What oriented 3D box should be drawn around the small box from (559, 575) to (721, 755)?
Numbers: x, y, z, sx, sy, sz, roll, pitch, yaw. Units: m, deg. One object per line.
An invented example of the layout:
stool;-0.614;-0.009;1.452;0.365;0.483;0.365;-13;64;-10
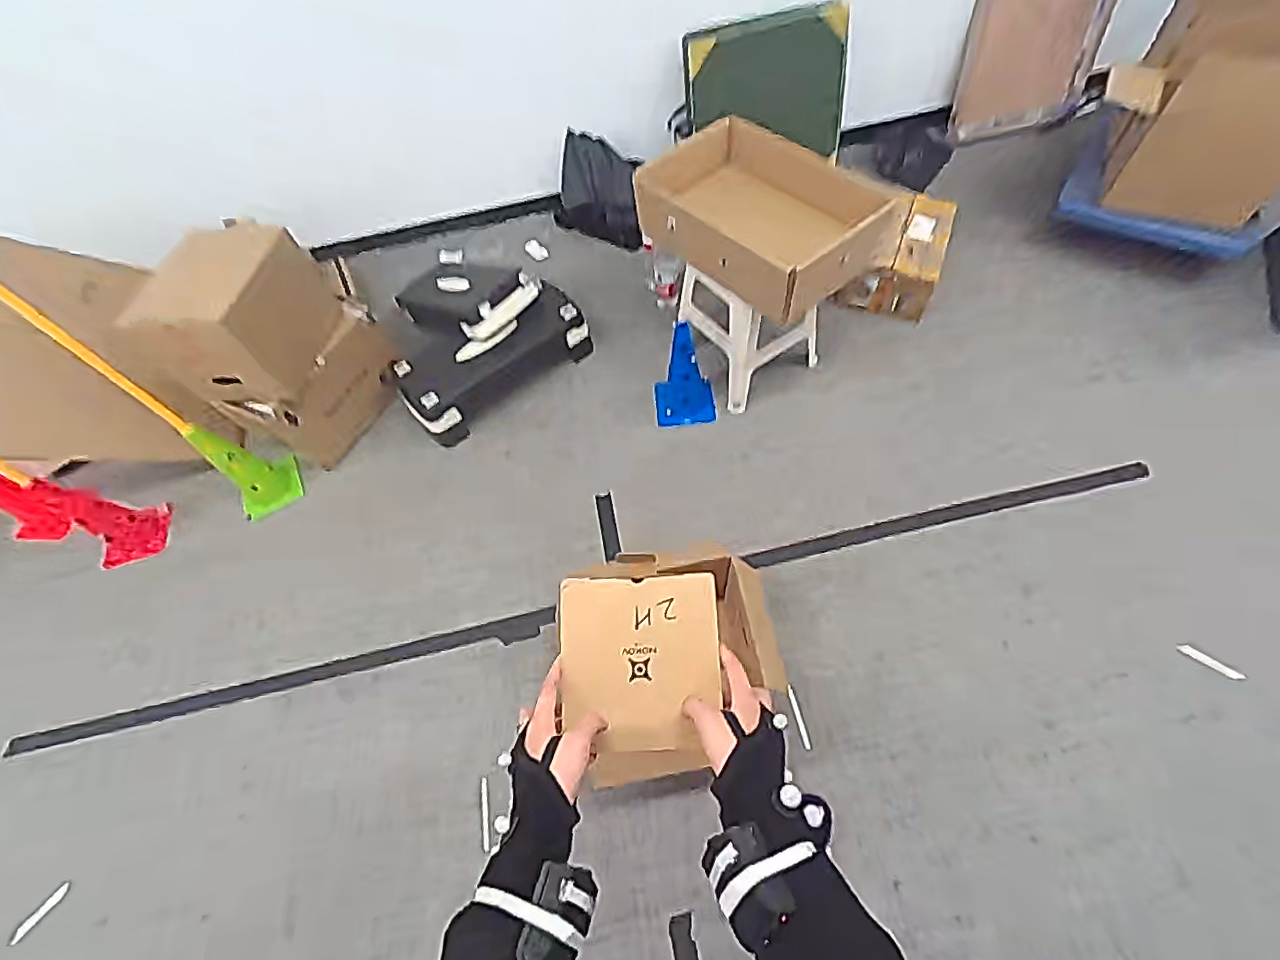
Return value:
small box;-0.001;0.206;0.634;0.168;0.176;0.179;-2;75;-1
